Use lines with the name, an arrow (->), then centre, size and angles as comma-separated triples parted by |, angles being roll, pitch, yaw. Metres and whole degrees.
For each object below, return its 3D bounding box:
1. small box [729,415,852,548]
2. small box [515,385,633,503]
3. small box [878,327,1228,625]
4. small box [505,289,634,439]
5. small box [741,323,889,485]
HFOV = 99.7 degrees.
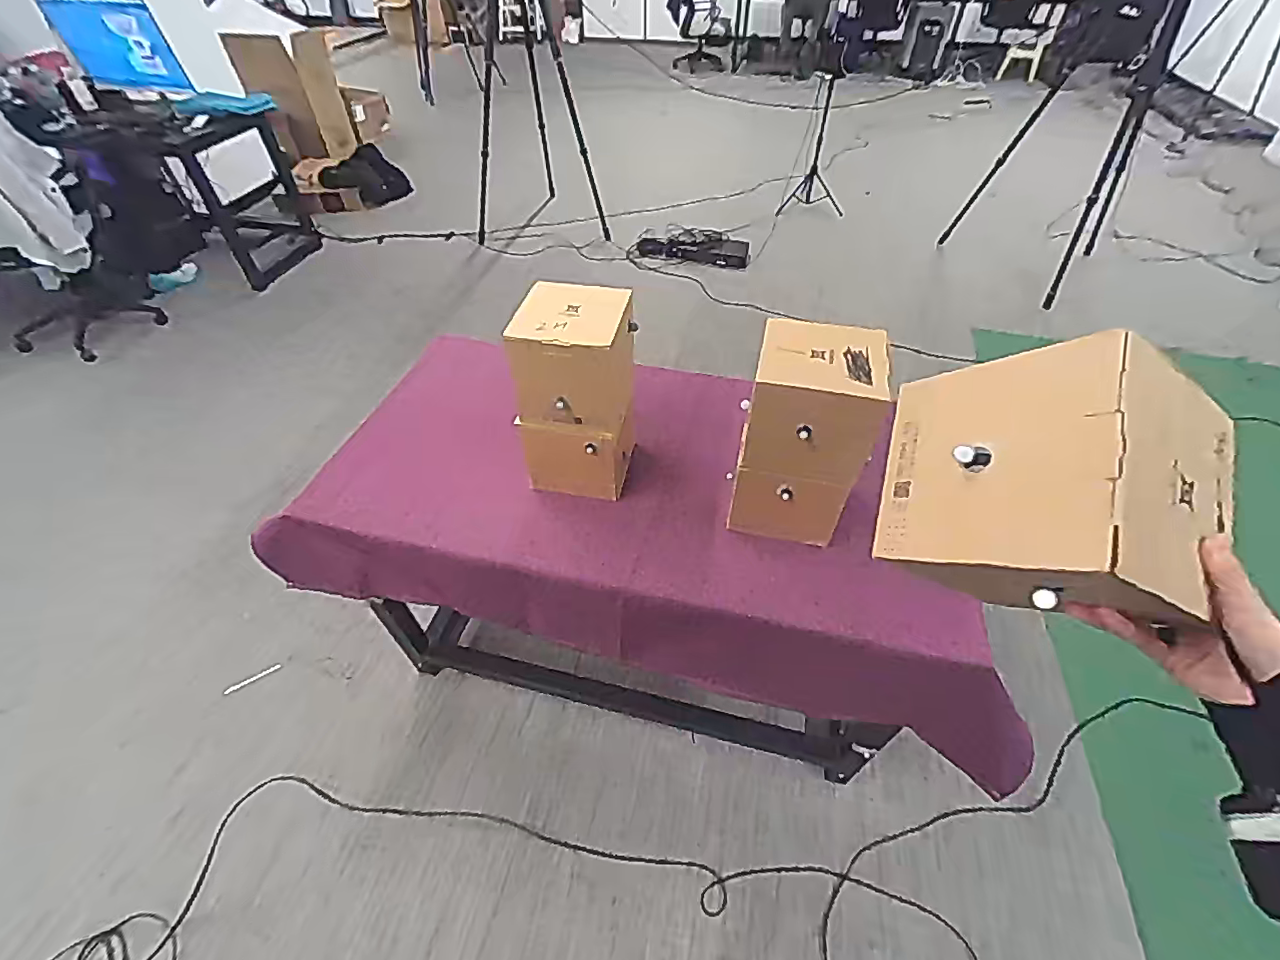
small box -> 0.257, -0.002, 0.938 | 0.179, 0.176, 0.168 | 11, 49, 10
small box -> -0.113, -0.075, 1.016 | 0.179, 0.176, 0.168 | 8, 47, 7
small box -> 0.326, 0.009, 0.441 | 0.179, 0.176, 0.168 | 20, 76, -24
small box -> -0.107, -0.194, 0.901 | 0.168, 0.176, 0.179 | 7, 47, 8
small box -> 0.258, -0.112, 0.816 | 0.179, 0.176, 0.168 | 10, 49, 11
